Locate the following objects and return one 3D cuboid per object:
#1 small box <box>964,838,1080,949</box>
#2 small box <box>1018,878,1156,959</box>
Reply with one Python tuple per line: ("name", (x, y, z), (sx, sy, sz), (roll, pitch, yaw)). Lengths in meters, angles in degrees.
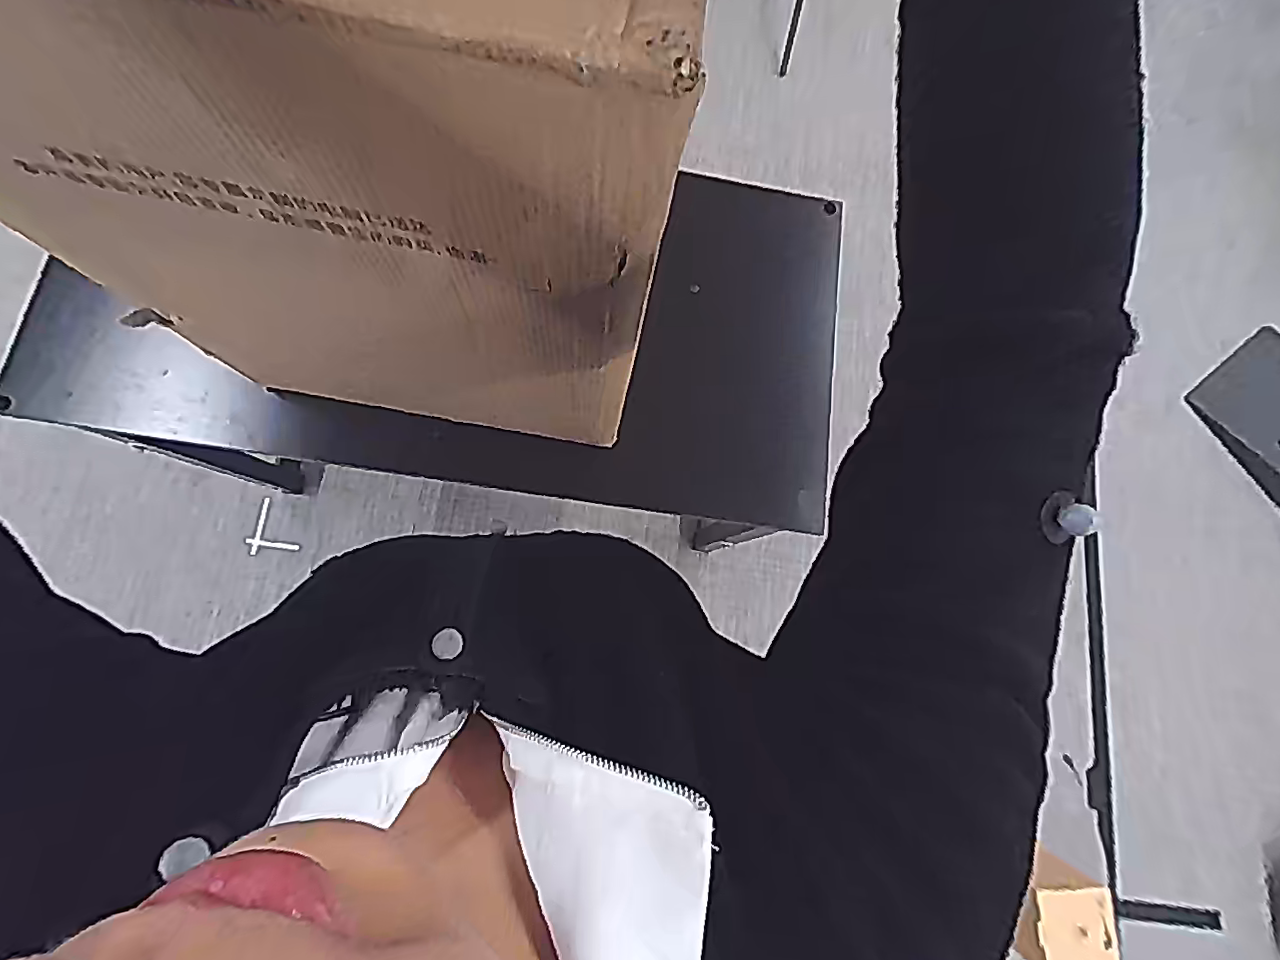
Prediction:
("small box", (0.939, 1.007, 1.330), (0.179, 0.176, 0.168), (2, 78, -5))
("small box", (0.954, 0.994, 1.167), (0.179, 0.176, 0.168), (2, 78, -6))
